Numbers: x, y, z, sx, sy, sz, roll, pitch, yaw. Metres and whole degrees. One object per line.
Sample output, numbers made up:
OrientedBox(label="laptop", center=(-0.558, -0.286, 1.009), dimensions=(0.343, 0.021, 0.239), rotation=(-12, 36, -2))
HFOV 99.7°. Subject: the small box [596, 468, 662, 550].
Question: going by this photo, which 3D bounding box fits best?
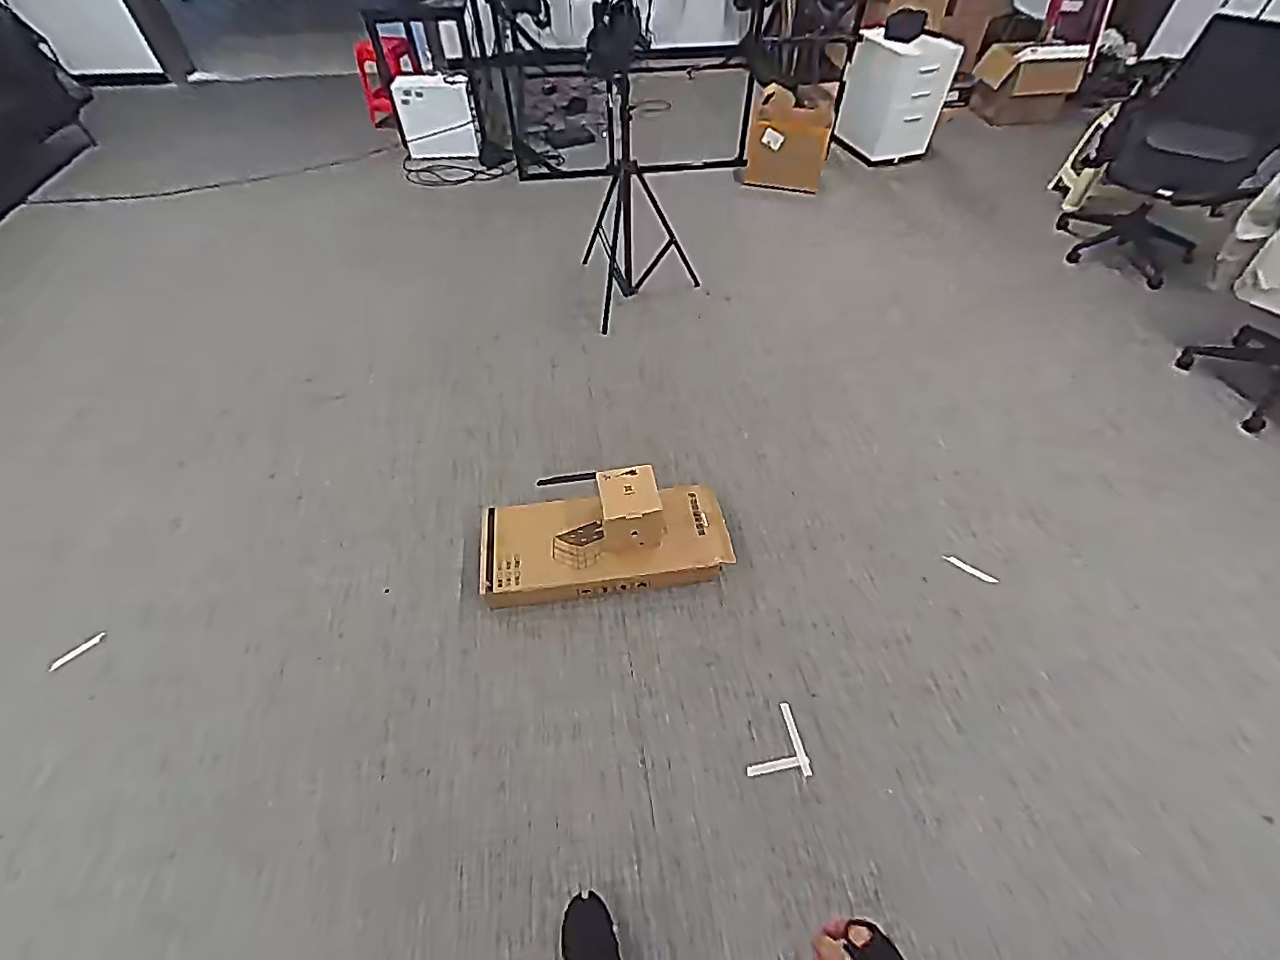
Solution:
OrientedBox(label="small box", center=(-0.032, 0.091, 1.588), dimensions=(0.168, 0.176, 0.179), rotation=(-8, 52, -7))
